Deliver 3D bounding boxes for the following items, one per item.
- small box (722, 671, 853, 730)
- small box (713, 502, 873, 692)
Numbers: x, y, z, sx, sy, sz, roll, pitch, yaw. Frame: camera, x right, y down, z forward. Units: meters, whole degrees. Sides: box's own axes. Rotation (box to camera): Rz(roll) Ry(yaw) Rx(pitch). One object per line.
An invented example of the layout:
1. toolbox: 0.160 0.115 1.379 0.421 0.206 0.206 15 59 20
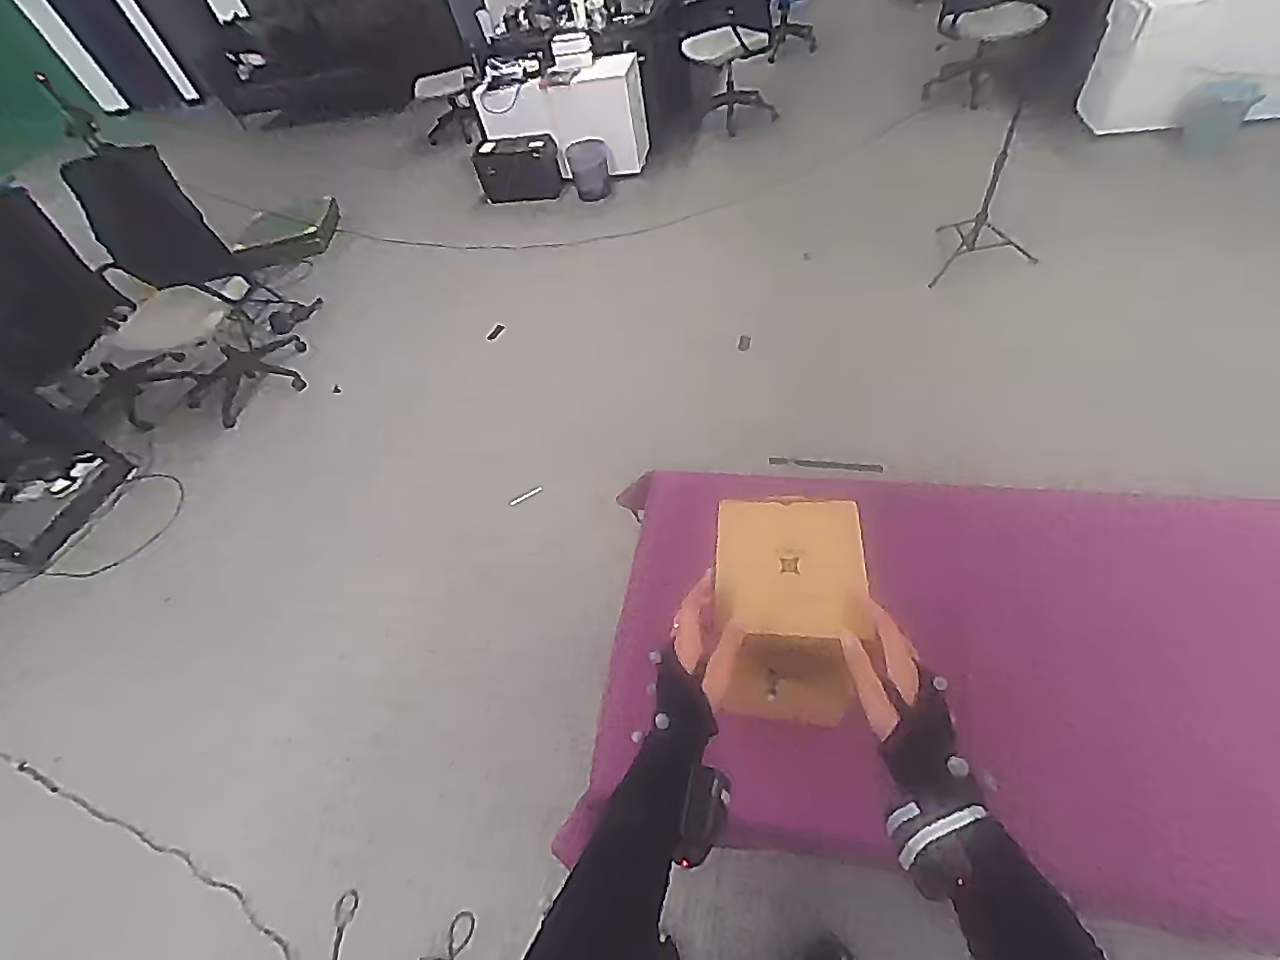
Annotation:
1. small box: 0.212 0.248 0.801 0.168 0.176 0.179 1 52 13
2. small box: 0.181 0.146 0.676 0.168 0.176 0.179 0 53 12
